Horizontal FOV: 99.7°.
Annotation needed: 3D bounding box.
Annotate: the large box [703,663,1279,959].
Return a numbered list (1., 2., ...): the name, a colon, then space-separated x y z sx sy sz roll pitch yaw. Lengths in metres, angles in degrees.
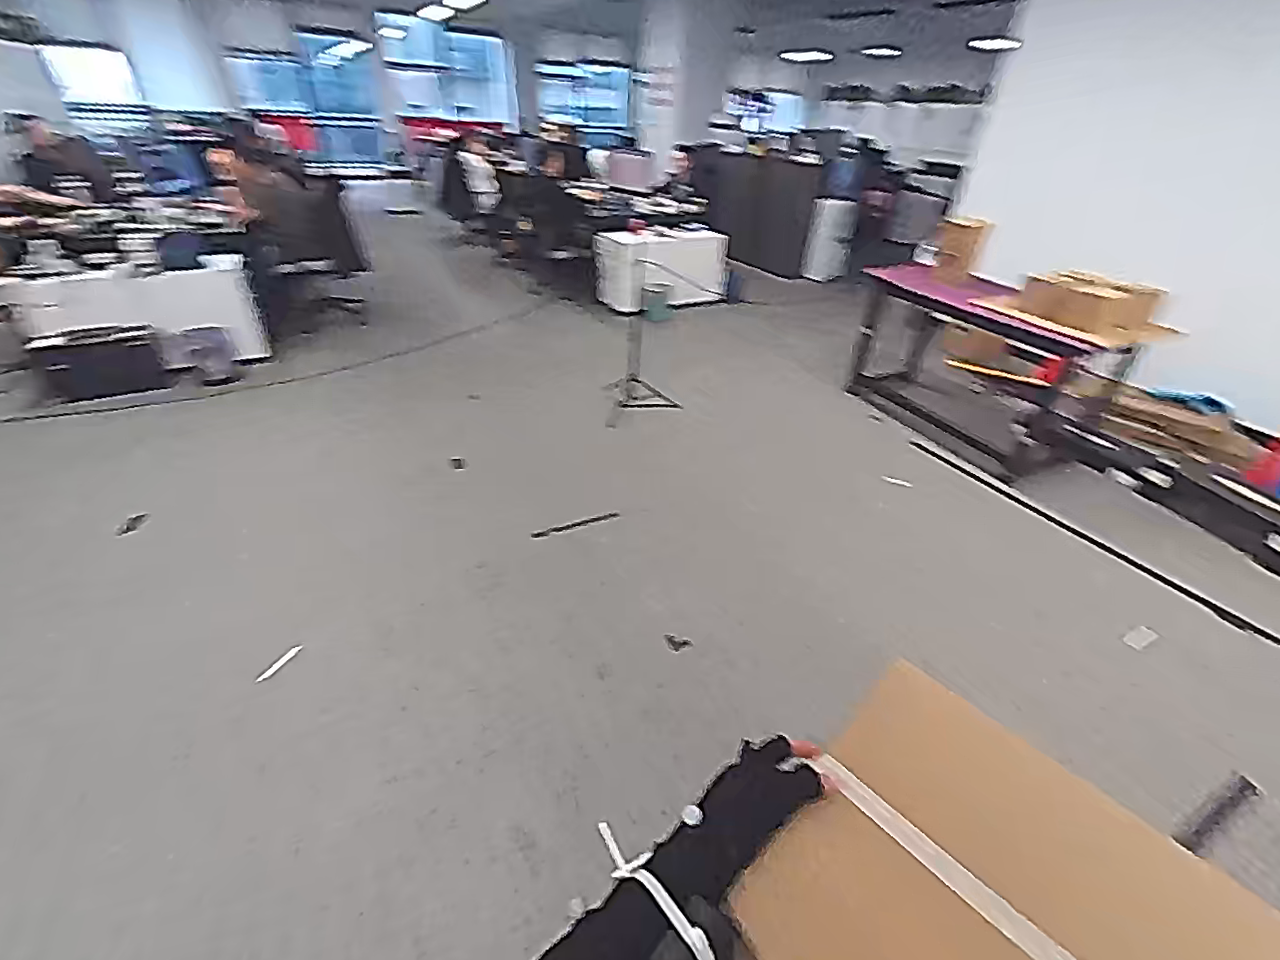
1. large box: 0.316 0.473 0.518 0.320 0.320 0.408 -35 53 -30
